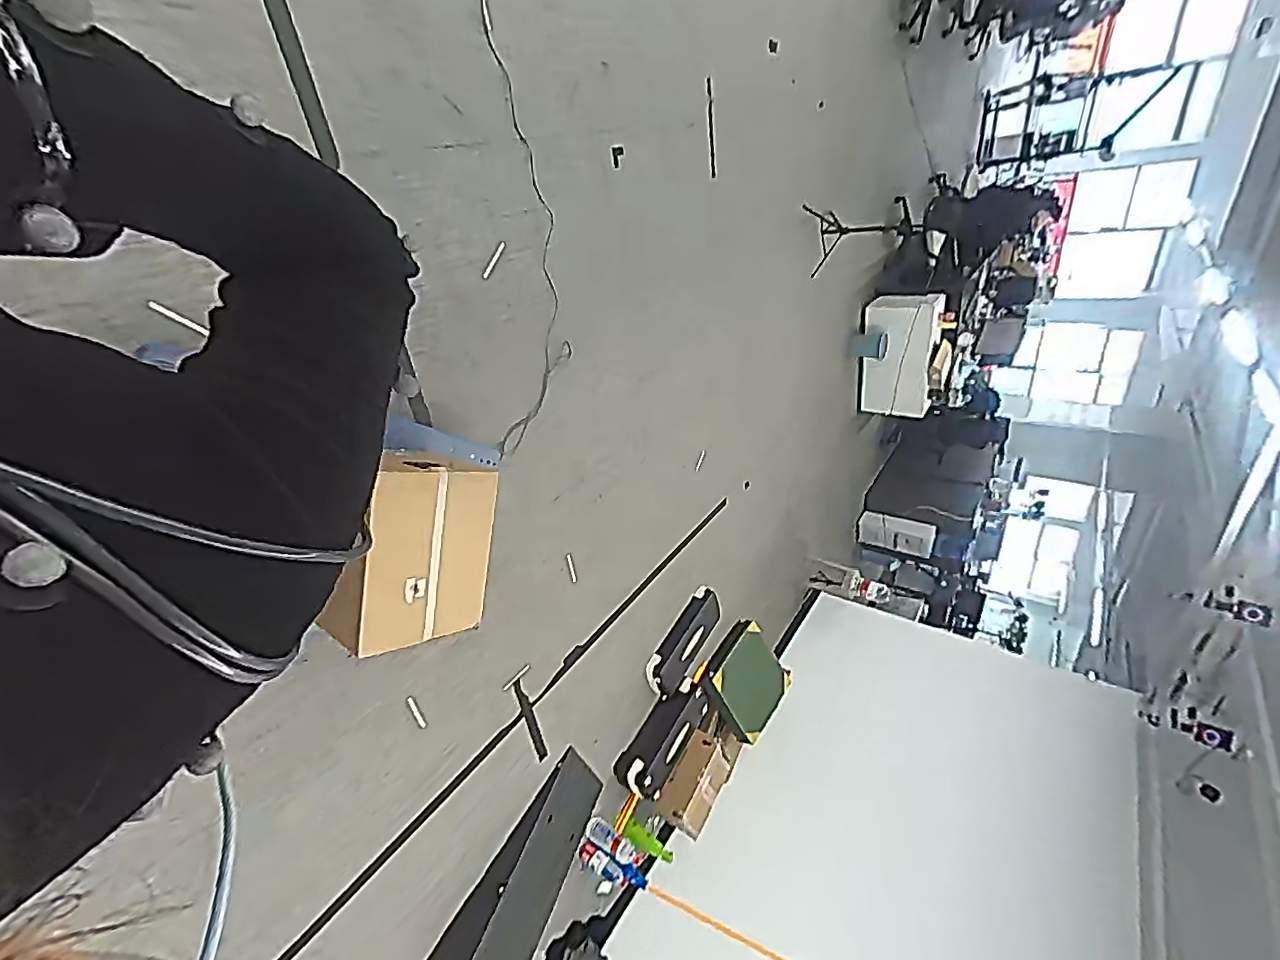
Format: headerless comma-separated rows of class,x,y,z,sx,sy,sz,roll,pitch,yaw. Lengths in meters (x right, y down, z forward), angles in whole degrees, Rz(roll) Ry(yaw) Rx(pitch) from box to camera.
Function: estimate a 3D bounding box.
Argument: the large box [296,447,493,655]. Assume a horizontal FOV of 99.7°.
large box,-0.593,0.141,1.305,0.320,0.320,0.408,-1,102,-53
